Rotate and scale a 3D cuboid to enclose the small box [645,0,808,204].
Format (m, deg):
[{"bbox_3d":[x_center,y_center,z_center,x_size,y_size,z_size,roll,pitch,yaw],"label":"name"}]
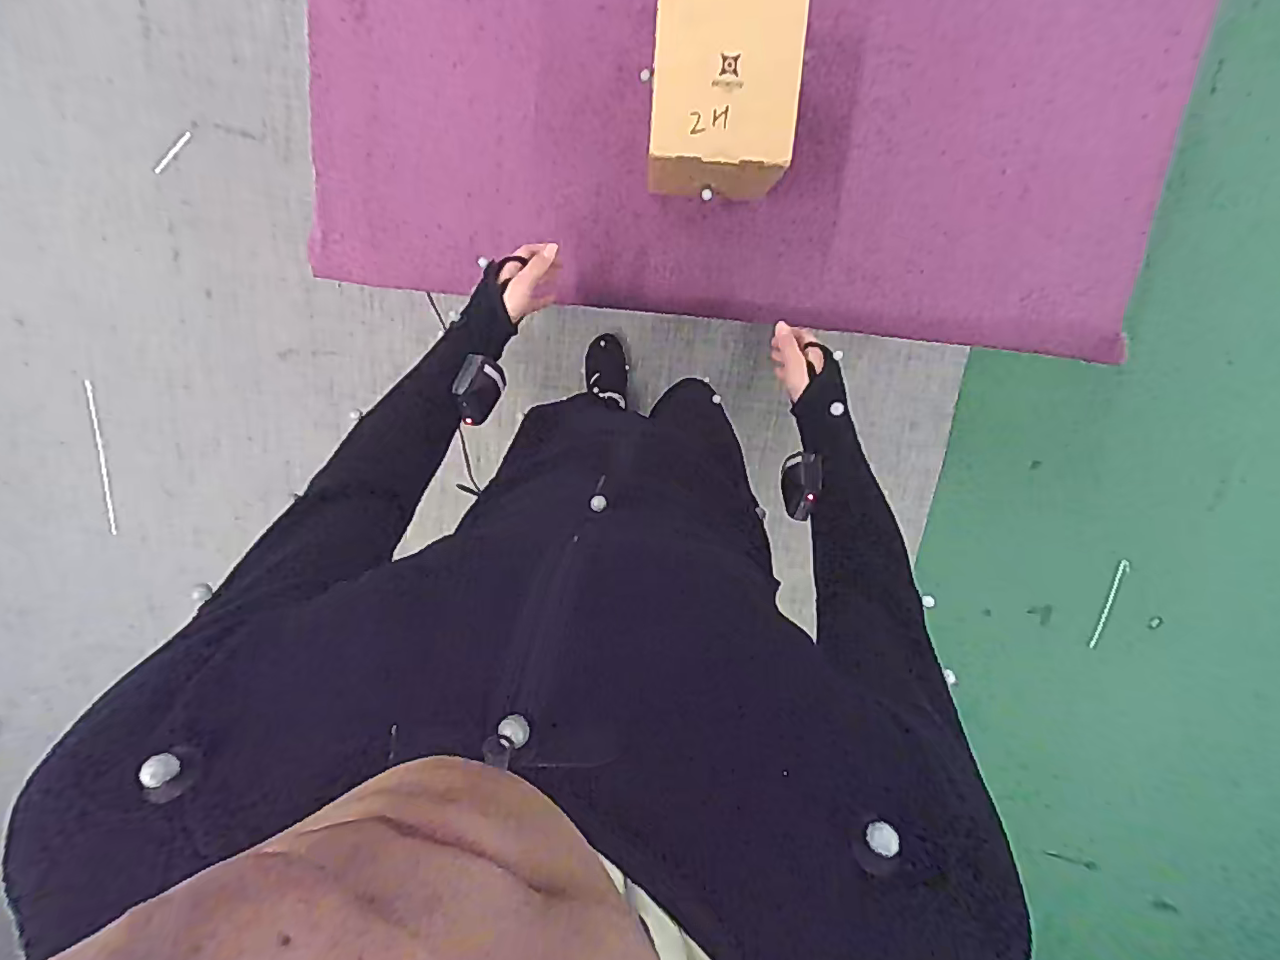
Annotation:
[{"bbox_3d":[0.095,-0.467,0.677,0.168,0.176,0.179,4,104,-1],"label":"small box"}]

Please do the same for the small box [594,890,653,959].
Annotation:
[{"bbox_3d":[-0.052,1.434,1.686,0.168,0.176,0.179,7,106,-2],"label":"small box"}]
